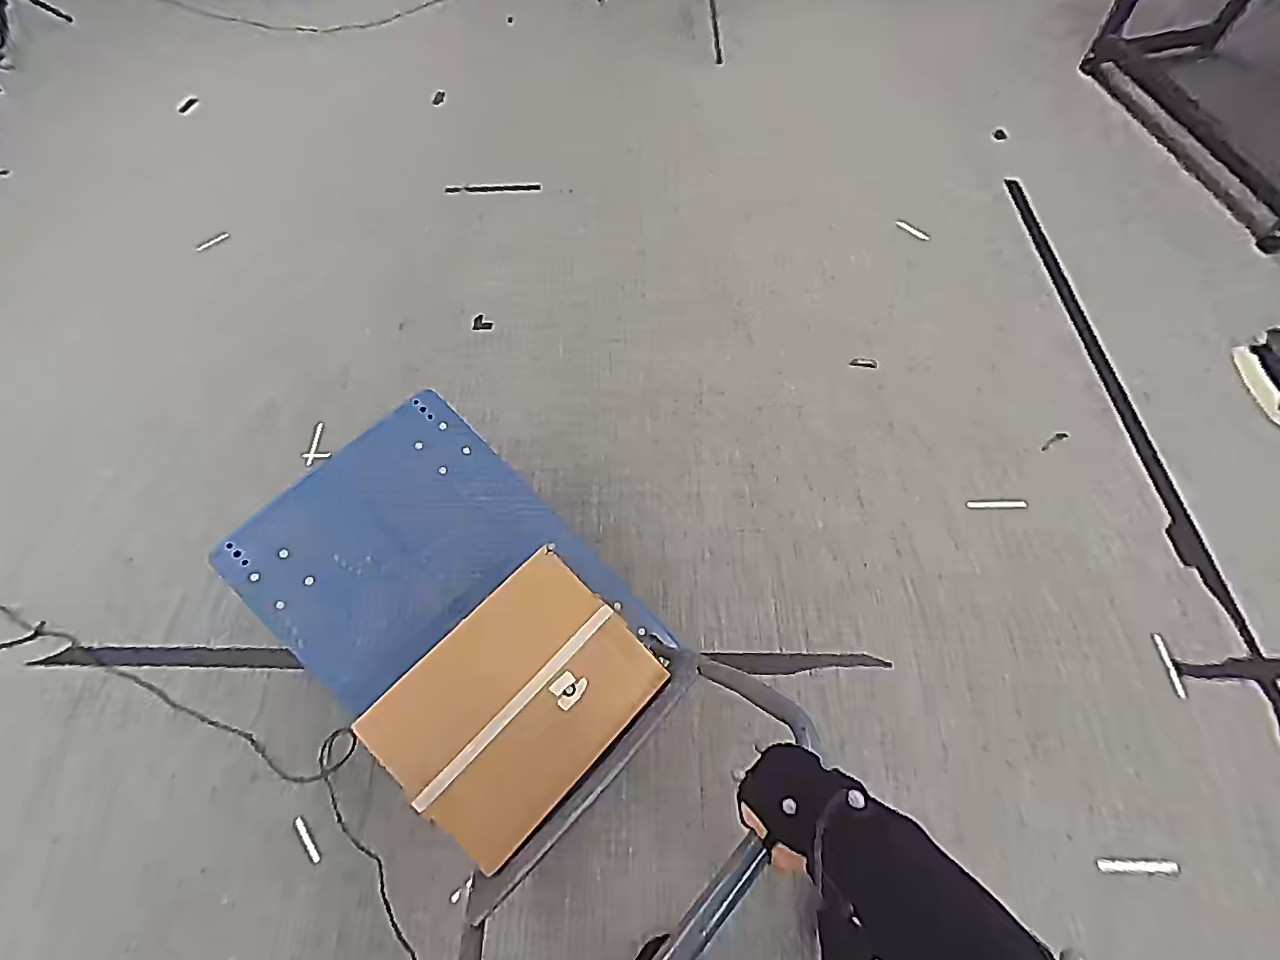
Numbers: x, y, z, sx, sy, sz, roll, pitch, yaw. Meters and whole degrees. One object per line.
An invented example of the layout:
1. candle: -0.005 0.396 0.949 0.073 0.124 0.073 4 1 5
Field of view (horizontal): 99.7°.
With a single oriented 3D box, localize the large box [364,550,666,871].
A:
1. large box: -0.219 0.399 1.029 0.320 0.320 0.408 44 72 2
